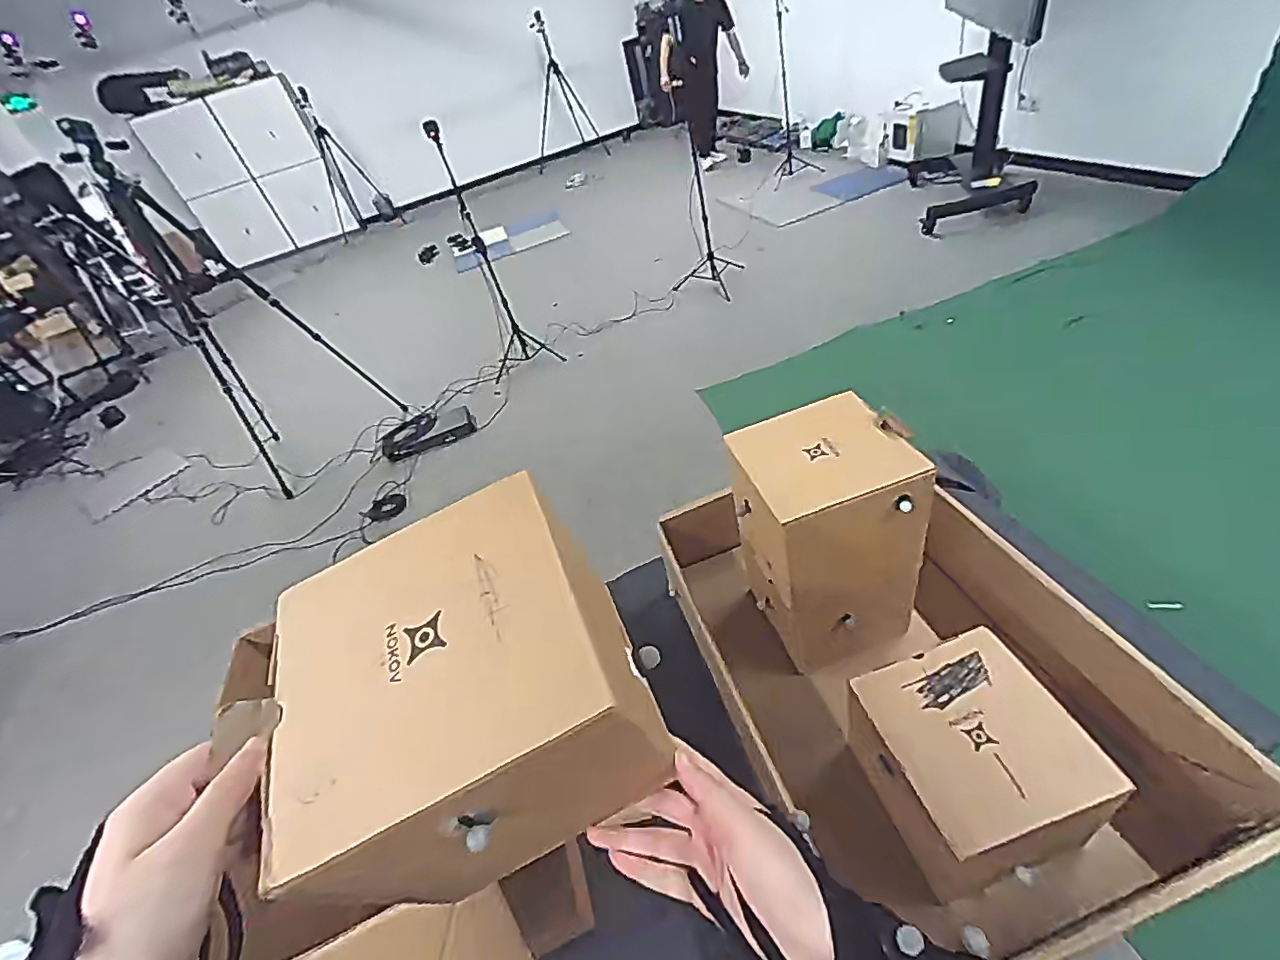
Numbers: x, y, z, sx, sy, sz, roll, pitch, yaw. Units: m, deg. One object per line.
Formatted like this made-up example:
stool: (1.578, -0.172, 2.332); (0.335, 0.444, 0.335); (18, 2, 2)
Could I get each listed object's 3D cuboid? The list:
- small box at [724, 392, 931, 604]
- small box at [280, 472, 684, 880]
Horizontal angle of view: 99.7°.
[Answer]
small box: (0.222, 0.025, 0.667); (0.179, 0.176, 0.168); (-19, 42, -2)
small box: (-0.091, 0.134, 0.354); (0.179, 0.176, 0.168); (-27, 51, -3)
